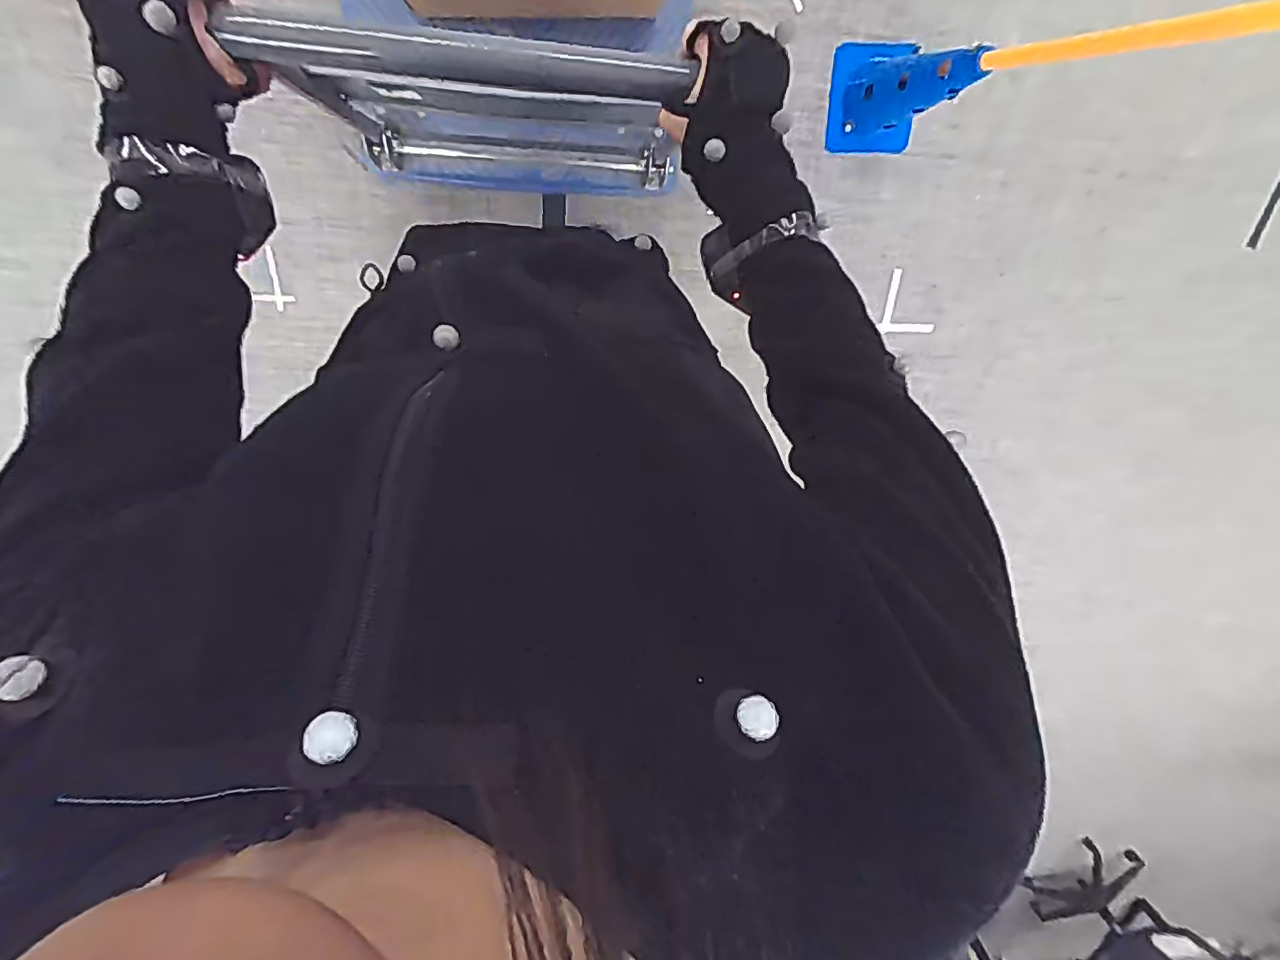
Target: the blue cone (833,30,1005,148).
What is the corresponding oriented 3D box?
[{"bbox_3d":[0.537,-0.761,1.025,0.193,0.380,0.192,-3,116,-8],"label":"blue cone"}]
